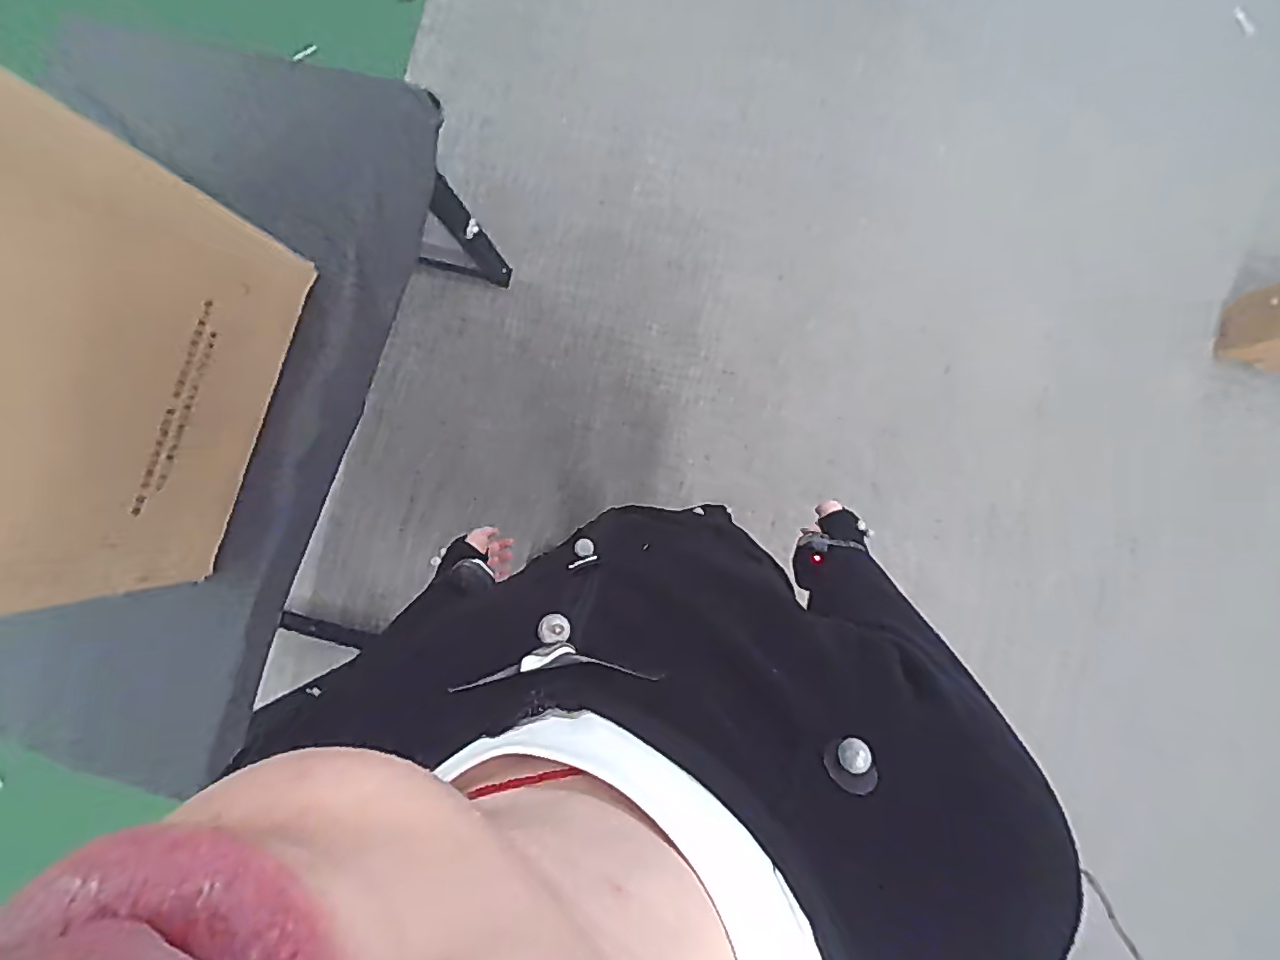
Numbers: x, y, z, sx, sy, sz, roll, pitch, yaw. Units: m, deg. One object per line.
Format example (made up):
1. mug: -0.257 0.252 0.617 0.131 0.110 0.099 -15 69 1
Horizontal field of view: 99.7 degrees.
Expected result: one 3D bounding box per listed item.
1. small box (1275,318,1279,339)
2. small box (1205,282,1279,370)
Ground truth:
1. small box: 1.635 -0.401 1.231 0.179 0.176 0.168 14 89 3
2. small box: 1.643 -0.394 1.393 0.179 0.176 0.168 16 88 4
